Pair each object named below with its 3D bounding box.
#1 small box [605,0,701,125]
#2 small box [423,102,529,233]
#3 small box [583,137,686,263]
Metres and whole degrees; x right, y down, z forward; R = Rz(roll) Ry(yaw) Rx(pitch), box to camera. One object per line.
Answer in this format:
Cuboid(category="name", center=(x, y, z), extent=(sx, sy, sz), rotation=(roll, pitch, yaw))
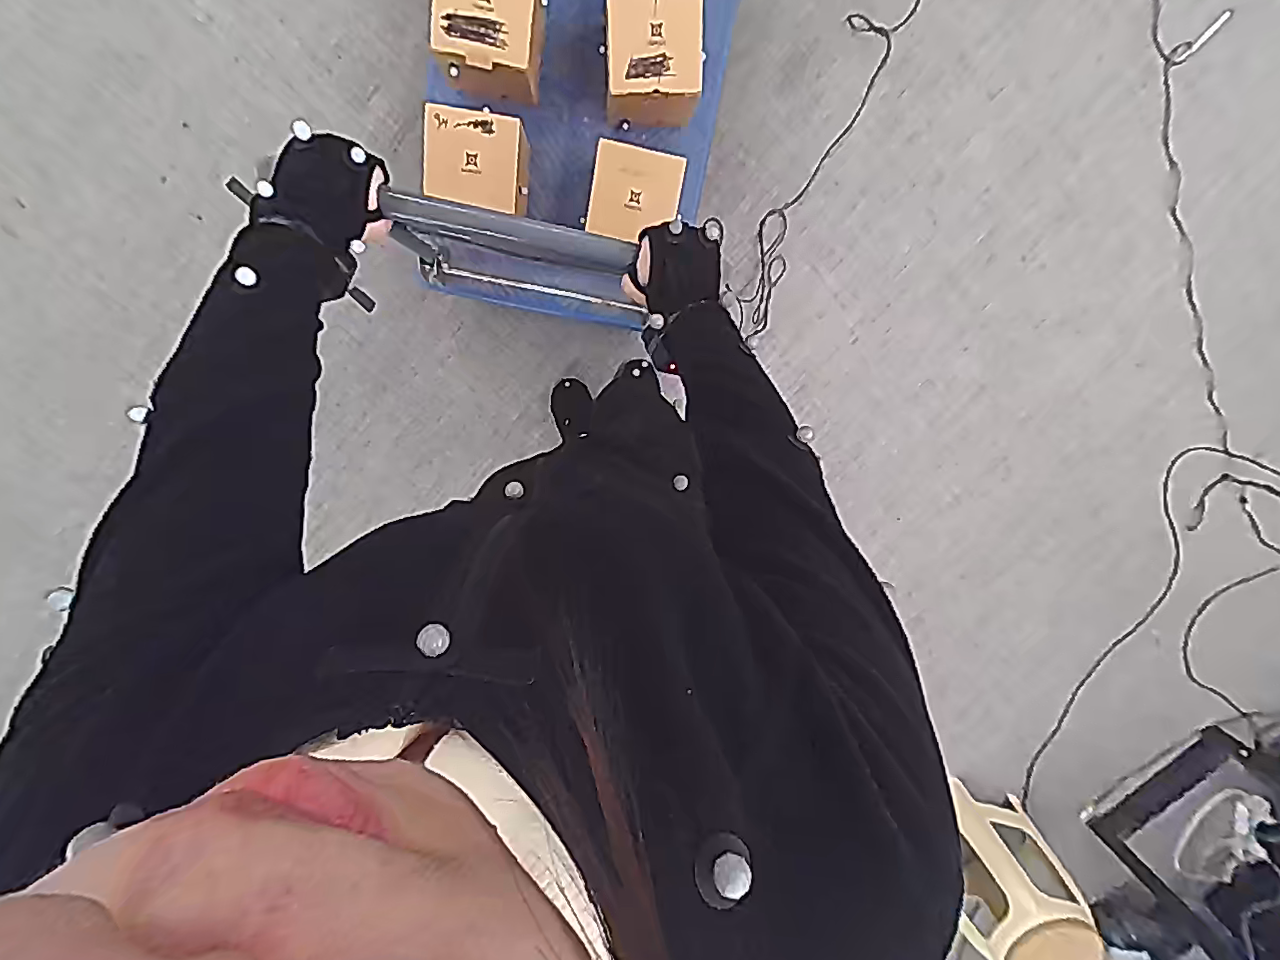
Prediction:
Cuboid(category="small box", center=(0.019, -0.792, 1.014), extent=(0.168, 0.176, 0.179), rotation=(-2, 105, -5))
Cuboid(category="small box", center=(-0.310, -0.589, 1.045), extent=(0.168, 0.176, 0.179), rotation=(6, 106, -7))
Cuboid(category="small box", center=(-0.017, -0.546, 1.084), extent=(0.168, 0.176, 0.179), rotation=(10, 104, -8))
